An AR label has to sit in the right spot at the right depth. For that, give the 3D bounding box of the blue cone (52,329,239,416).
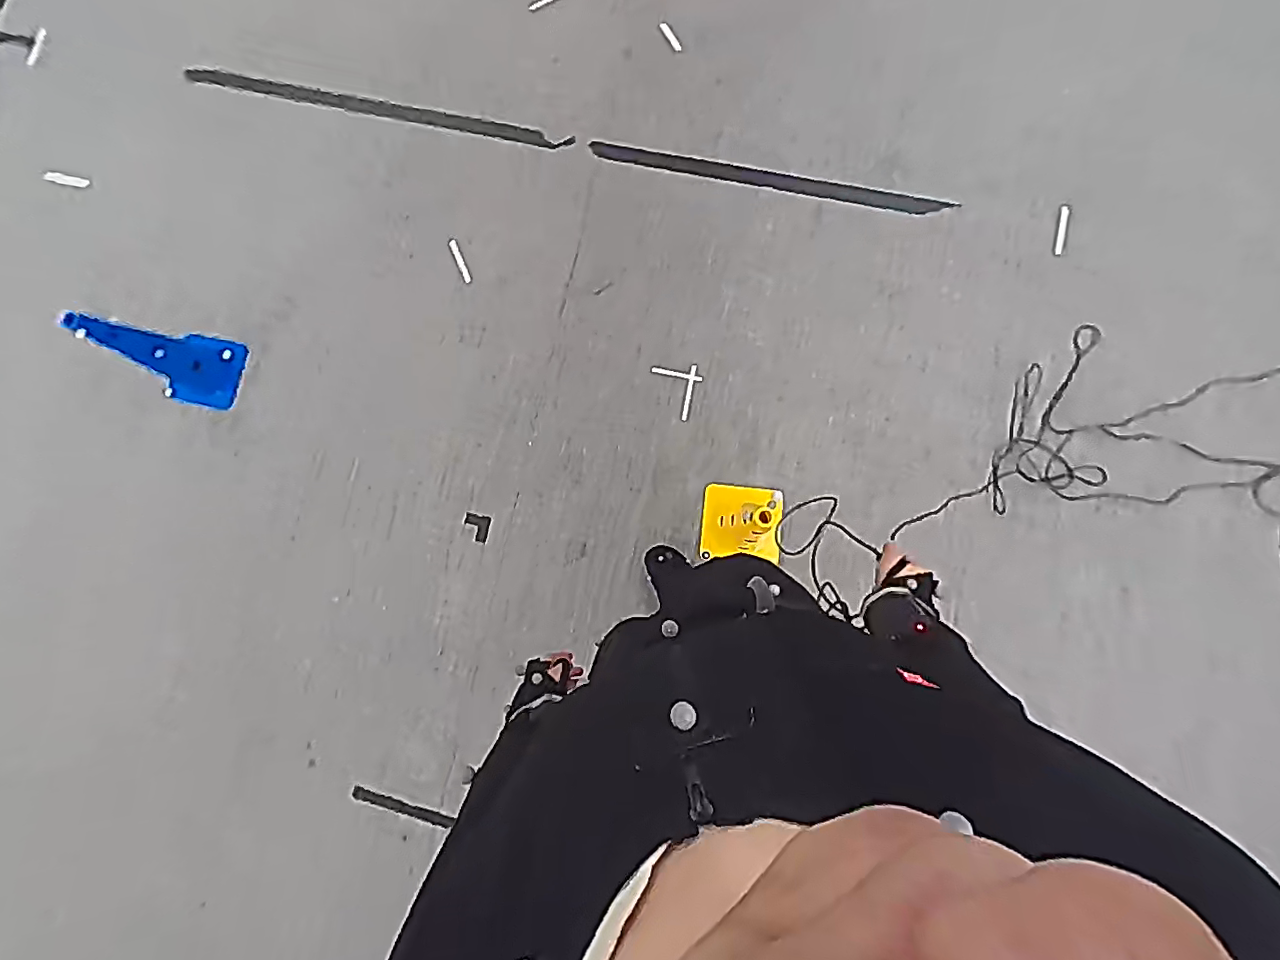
[{"bbox_3d":[-1.234,-0.300,1.347,0.193,0.380,0.192,13,85,5],"label":"blue cone"}]
